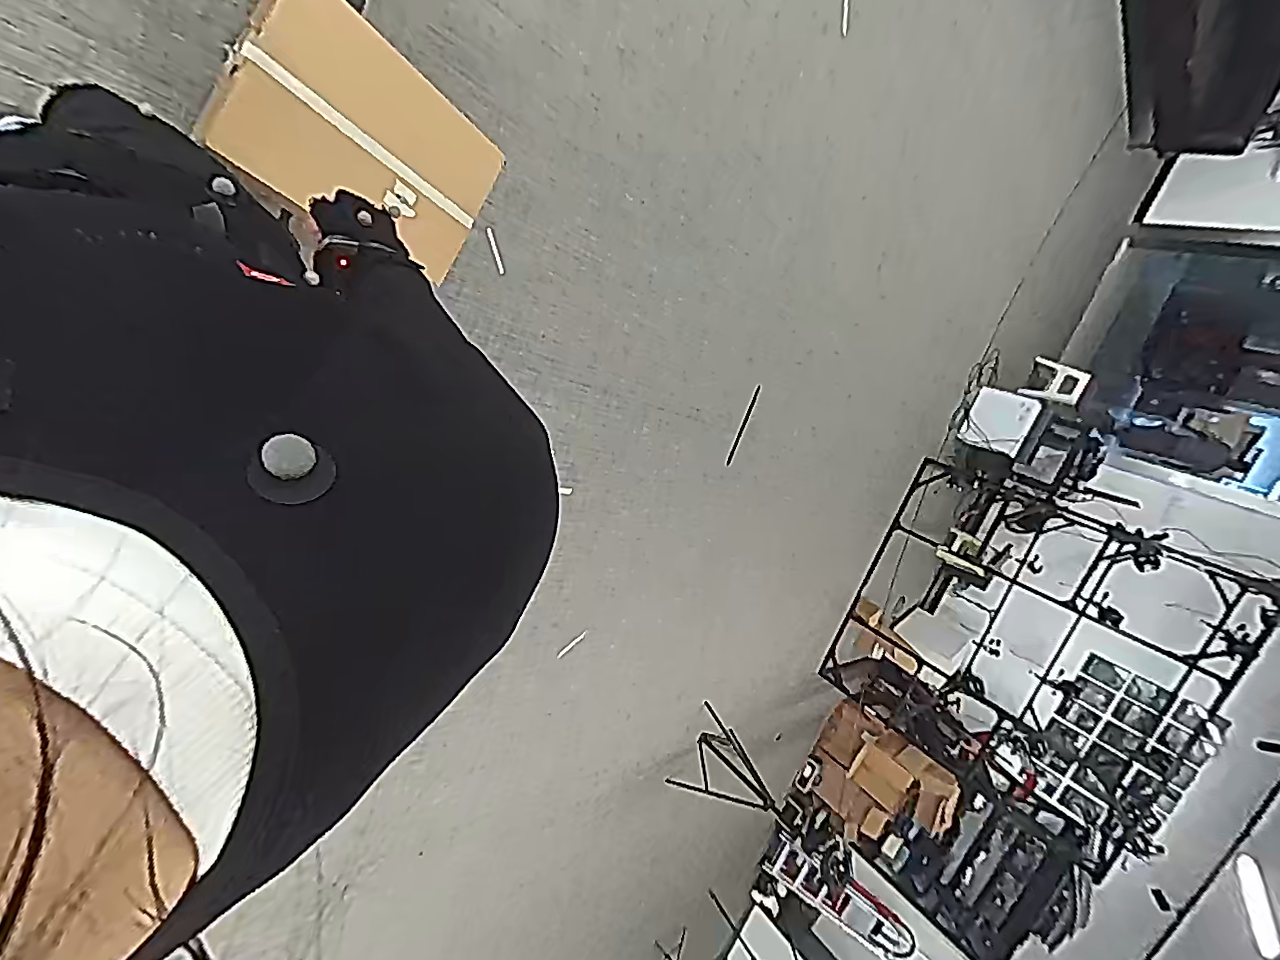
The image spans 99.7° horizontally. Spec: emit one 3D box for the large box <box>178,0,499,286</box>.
[{"bbox_3d":[-0.569,-0.639,1.039,0.408,0.320,0.320,27,94,-50],"label":"large box"}]
